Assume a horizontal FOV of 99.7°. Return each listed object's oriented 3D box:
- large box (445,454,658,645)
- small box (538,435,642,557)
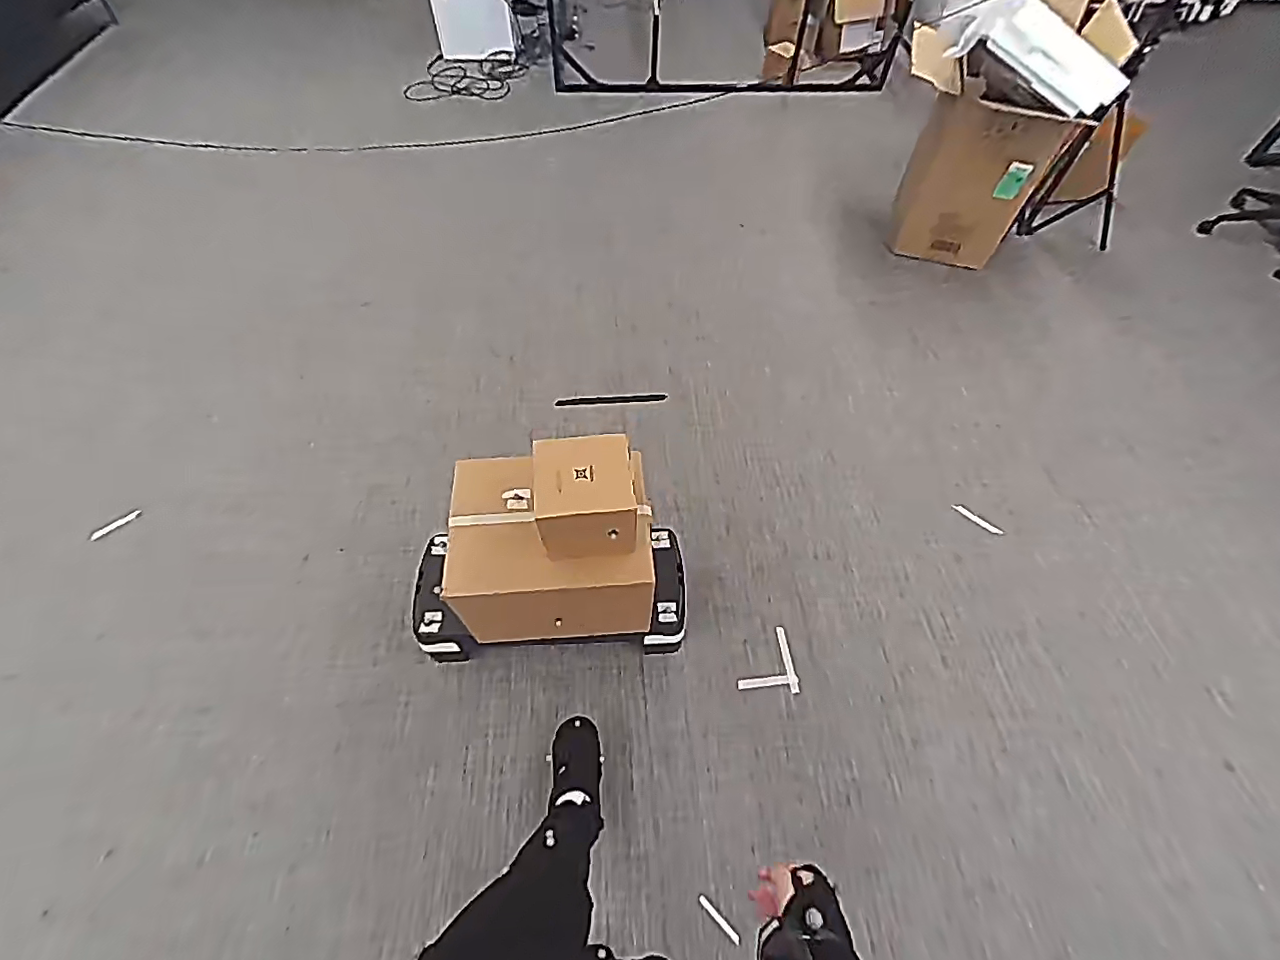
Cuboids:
[{"bbox_3d":[-0.178,0.165,1.217,0.408,0.320,0.320,-4,56,-3],"label":"large box"},{"bbox_3d":[-0.093,0.033,1.012,0.179,0.176,0.168,-5,57,-4],"label":"small box"}]
